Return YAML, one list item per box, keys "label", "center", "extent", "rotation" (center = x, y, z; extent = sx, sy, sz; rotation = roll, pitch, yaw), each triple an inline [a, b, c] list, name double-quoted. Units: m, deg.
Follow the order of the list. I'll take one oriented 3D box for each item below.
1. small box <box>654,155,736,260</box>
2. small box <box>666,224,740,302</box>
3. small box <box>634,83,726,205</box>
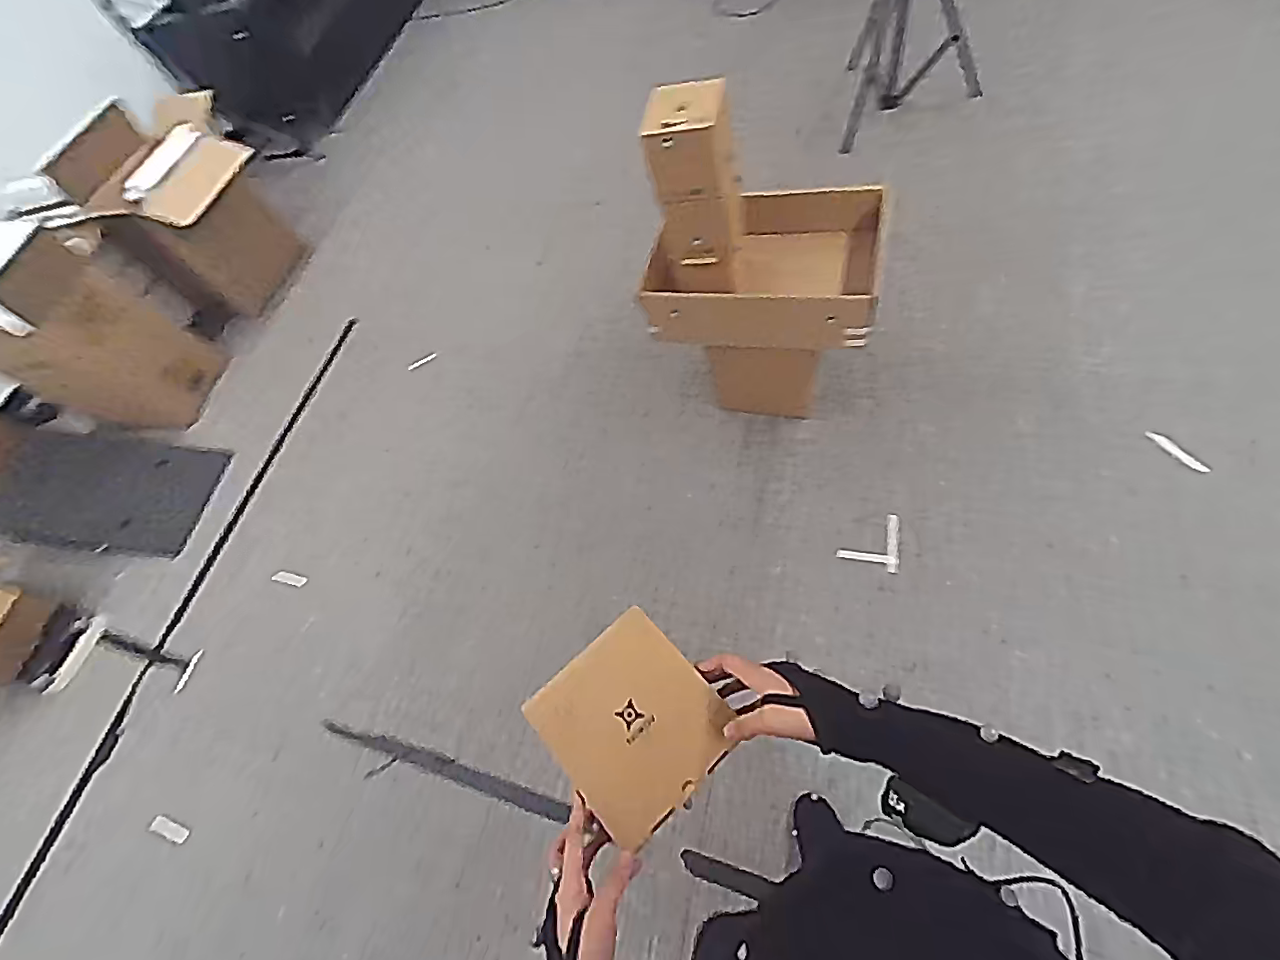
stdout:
- label: "small box"
  center: [0.148, -0.692, 1.383]
  extent: [0.168, 0.176, 0.179]
  rotation: [5, 65, 19]
- label: "small box"
  center: [0.185, -0.623, 1.528]
  extent: [0.168, 0.176, 0.179]
  rotation: [6, 64, 19]
- label: "small box"
  center: [0.100, -0.768, 1.245]
  extent: [0.168, 0.176, 0.179]
  rotation: [5, 64, 19]
